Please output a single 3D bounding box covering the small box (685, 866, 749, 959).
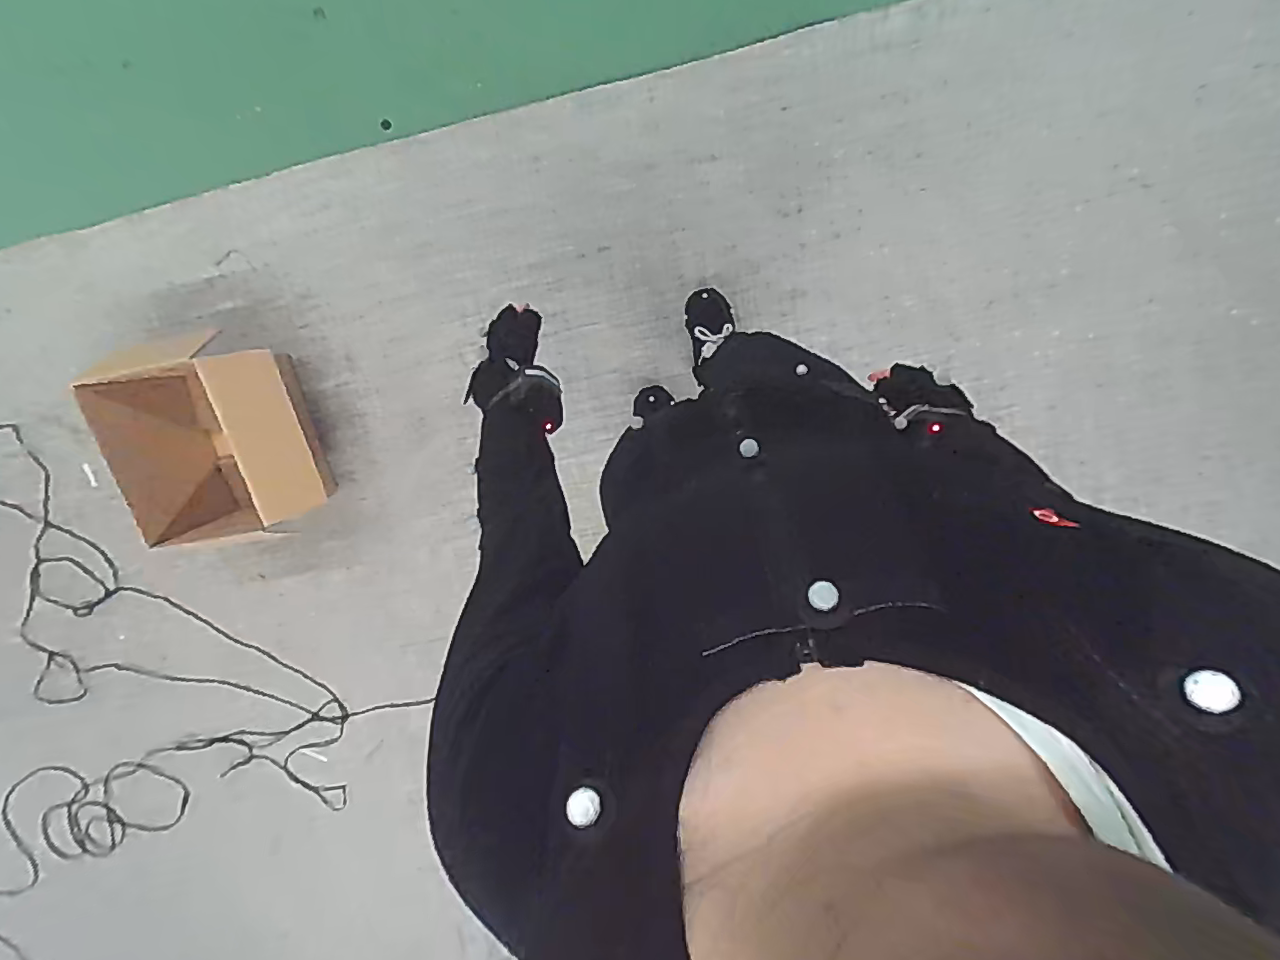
[{"bbox_3d":[0.249,1.422,1.783,0.179,0.176,0.168,-13,103,5],"label":"small box"}]
